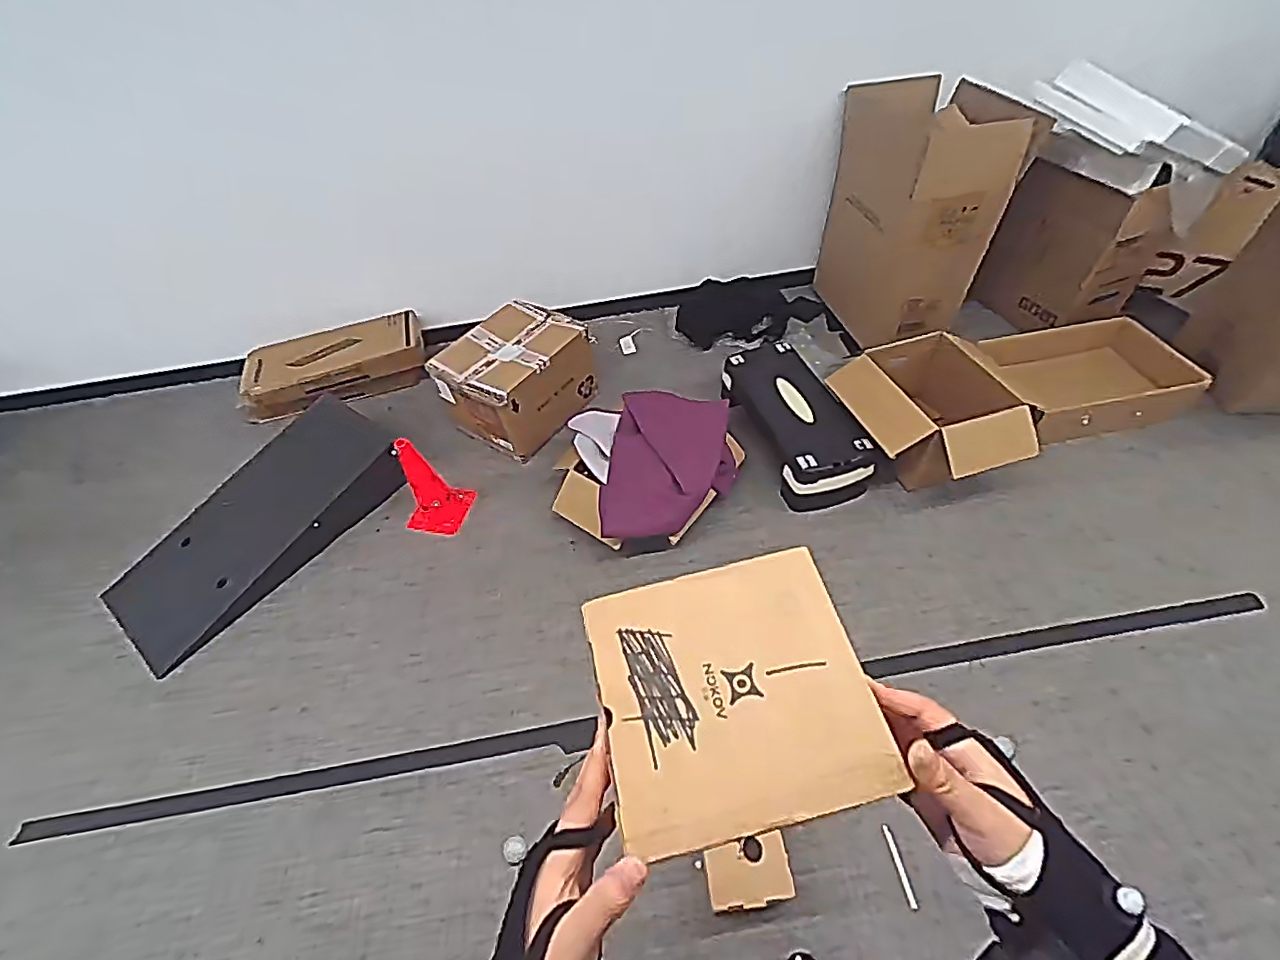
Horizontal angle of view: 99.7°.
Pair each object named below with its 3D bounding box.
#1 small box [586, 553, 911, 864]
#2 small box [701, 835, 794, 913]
[{"bbox_3d":[0.069,0.183,0.422,0.179,0.176,0.168,-14,56,-2],"label":"small box"},{"bbox_3d":[0.216,0.804,1.153,0.168,0.176,0.179,-8,50,-1],"label":"small box"}]
